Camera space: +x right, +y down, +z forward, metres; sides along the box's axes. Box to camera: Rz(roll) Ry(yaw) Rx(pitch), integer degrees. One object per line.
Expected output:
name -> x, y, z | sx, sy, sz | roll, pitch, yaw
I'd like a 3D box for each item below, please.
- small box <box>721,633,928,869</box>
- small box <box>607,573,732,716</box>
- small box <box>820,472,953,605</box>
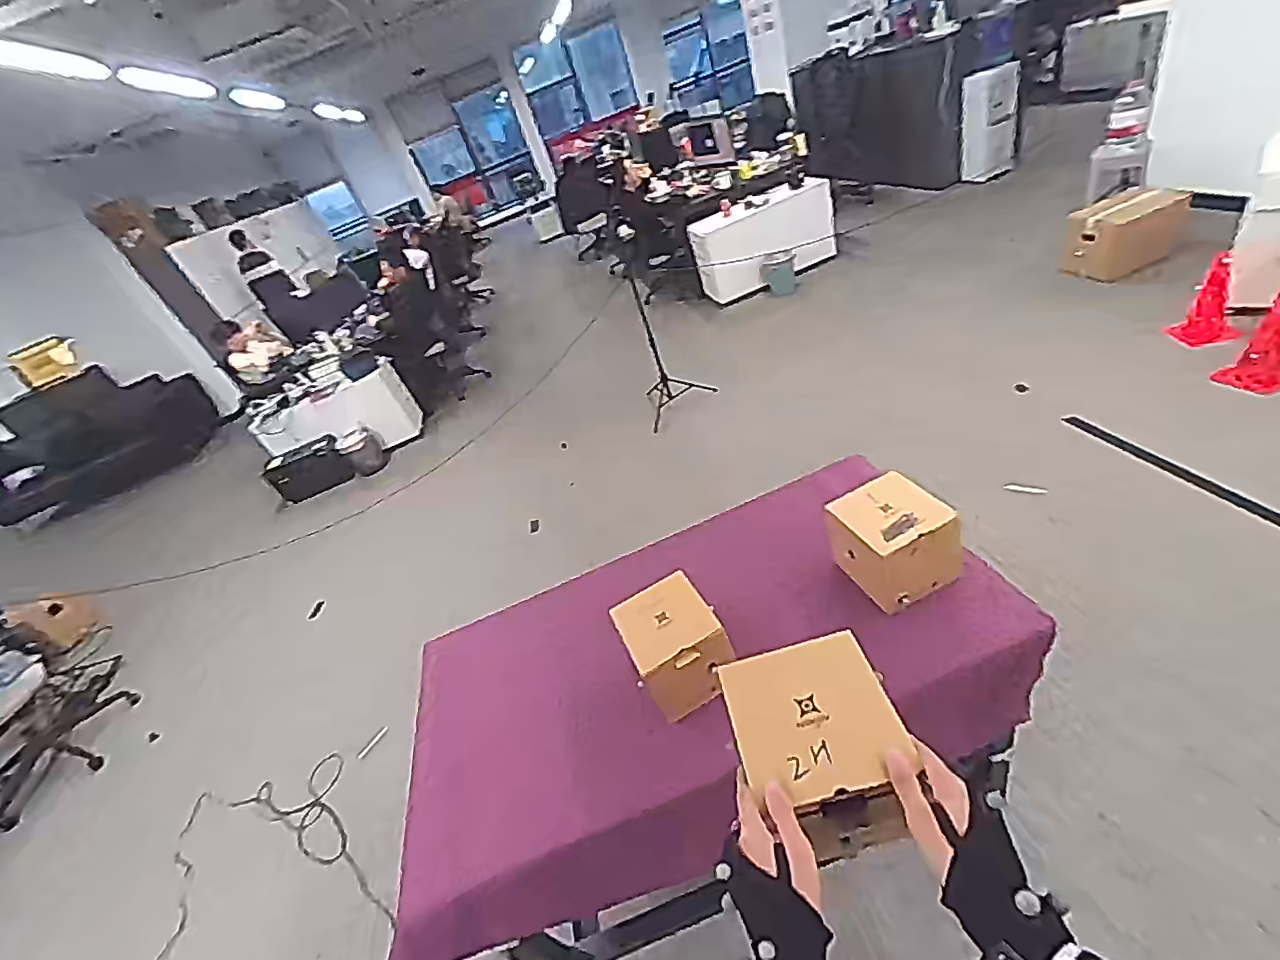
small box -> 0.204, 0.314, 0.627 | 0.168, 0.176, 0.179 | -18, 40, 5
small box -> 0.064, 0.321, 1.039 | 0.168, 0.176, 0.179 | -28, 35, -8
small box -> 0.485, 0.120, 1.062 | 0.168, 0.176, 0.179 | -27, 34, -5
